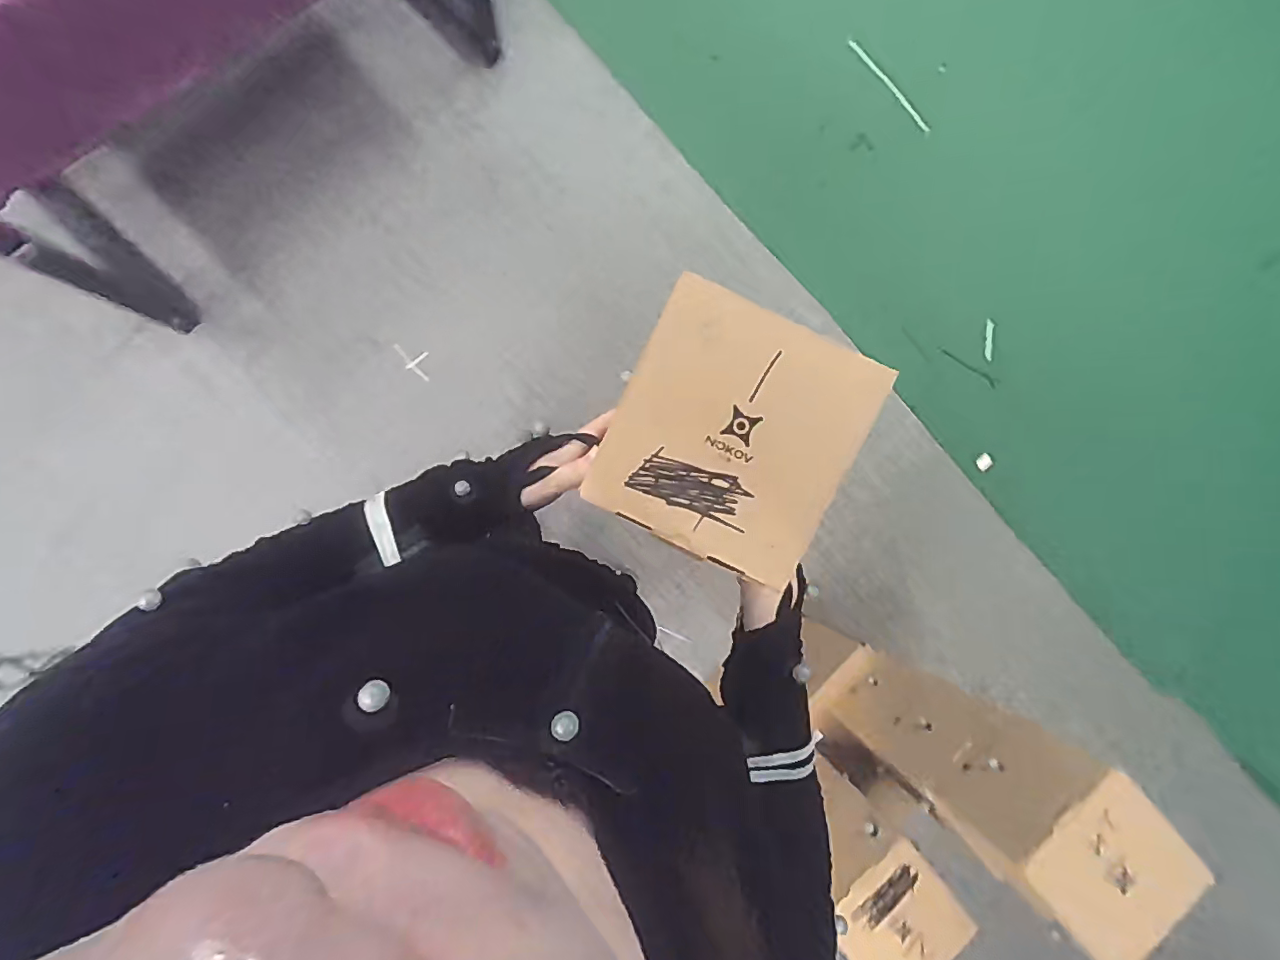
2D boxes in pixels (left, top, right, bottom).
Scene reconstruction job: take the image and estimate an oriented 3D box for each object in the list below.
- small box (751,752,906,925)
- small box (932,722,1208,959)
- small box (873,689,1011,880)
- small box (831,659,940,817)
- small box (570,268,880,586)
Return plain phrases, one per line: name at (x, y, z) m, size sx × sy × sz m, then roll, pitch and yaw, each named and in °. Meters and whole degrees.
small box at (0.331, 0.635, 0.991) m, size 0.168 × 0.176 × 0.179 m, roll -39°, pitch 92°, yaw -7°
small box at (0.526, 0.450, 0.688) m, size 0.168 × 0.176 × 0.179 m, roll -40°, pitch 91°, yaw -5°
small box at (0.509, 0.457, 0.852) m, size 0.168 × 0.176 × 0.179 m, roll -40°, pitch 90°, yaw -5°
small box at (0.499, 0.469, 1.015) m, size 0.168 × 0.176 × 0.179 m, roll -42°, pitch 90°, yaw -5°
small box at (0.061, -0.043, 0.458) m, size 0.168 × 0.176 × 0.179 m, roll 25°, pitch 97°, yaw -1°
